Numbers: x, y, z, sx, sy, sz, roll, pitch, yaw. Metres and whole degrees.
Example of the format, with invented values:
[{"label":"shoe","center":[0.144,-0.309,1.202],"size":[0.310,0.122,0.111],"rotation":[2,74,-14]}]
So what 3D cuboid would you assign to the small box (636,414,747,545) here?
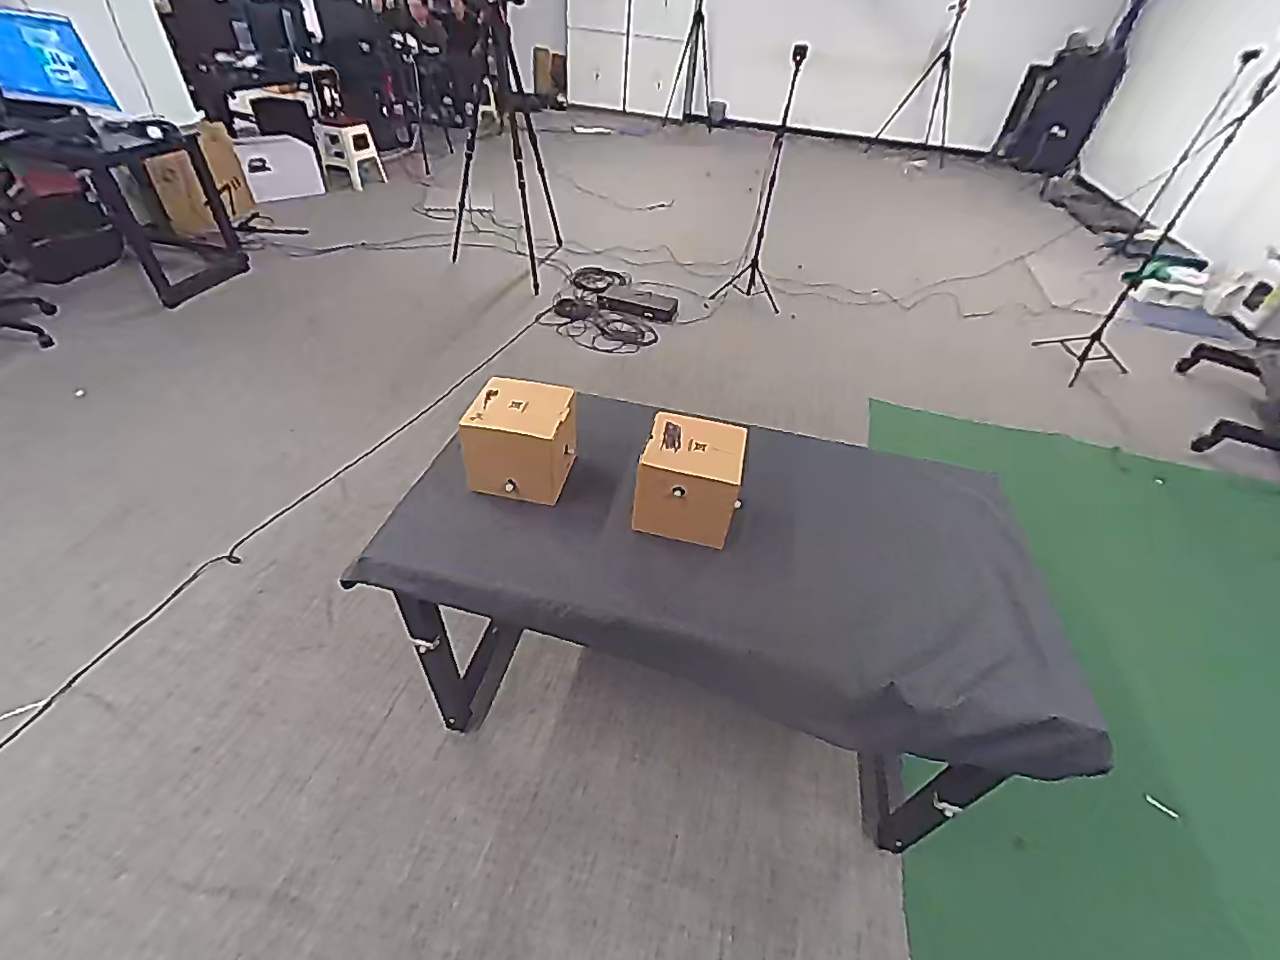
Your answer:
[{"label":"small box","center":[0.095,0.000,1.026],"size":[0.179,0.176,0.168],"rotation":[12,43,6]}]

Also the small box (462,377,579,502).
[{"label":"small box","center":[-0.227,-0.077,1.072],"size":[0.179,0.176,0.168],"rotation":[11,42,4]}]
